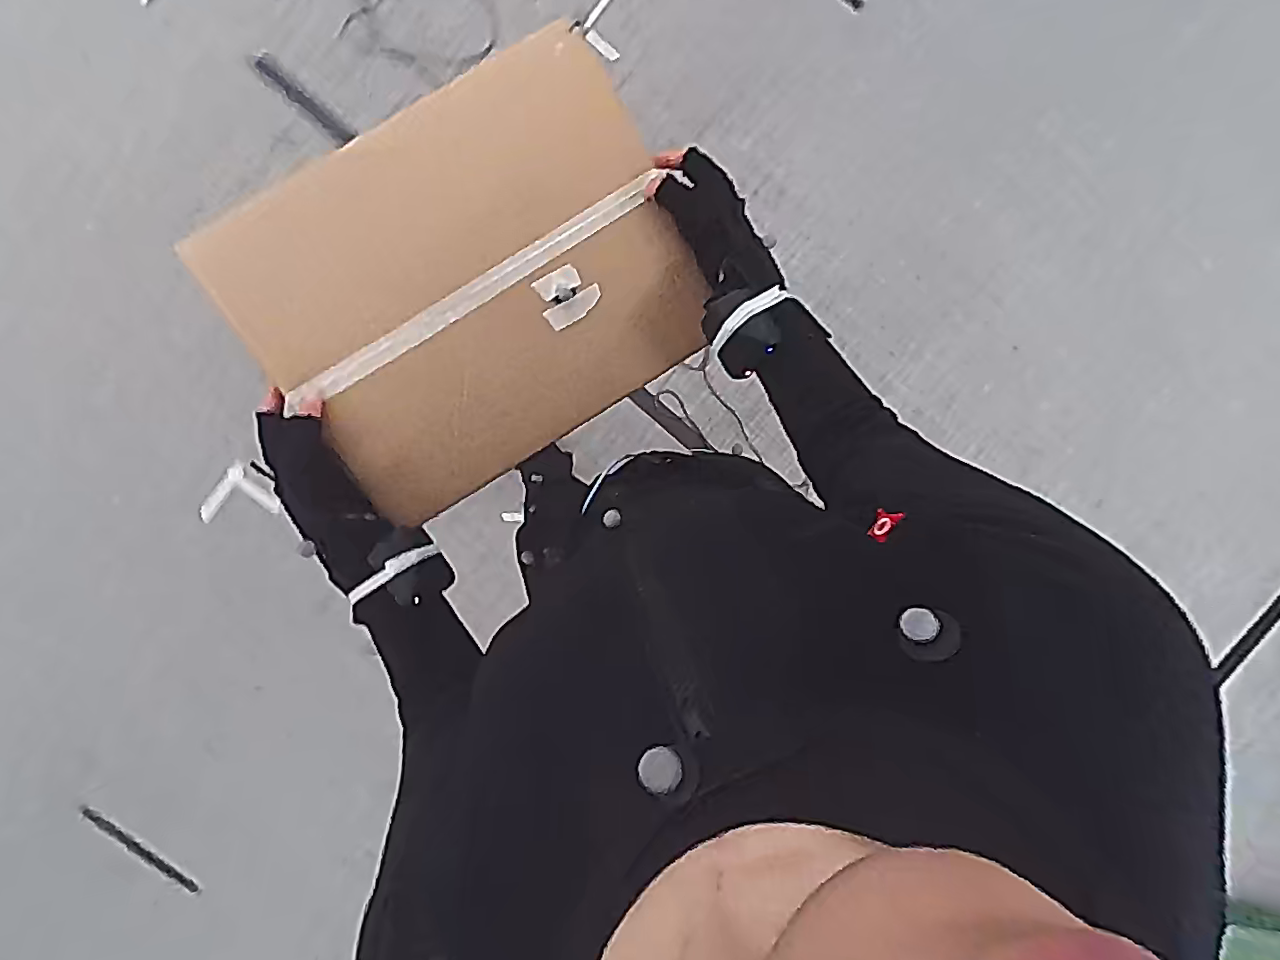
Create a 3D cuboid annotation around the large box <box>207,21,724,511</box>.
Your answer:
[{"bbox_3d":[-0.175,-0.221,0.671,0.408,0.320,0.320,-31,105,-2],"label":"large box"}]
